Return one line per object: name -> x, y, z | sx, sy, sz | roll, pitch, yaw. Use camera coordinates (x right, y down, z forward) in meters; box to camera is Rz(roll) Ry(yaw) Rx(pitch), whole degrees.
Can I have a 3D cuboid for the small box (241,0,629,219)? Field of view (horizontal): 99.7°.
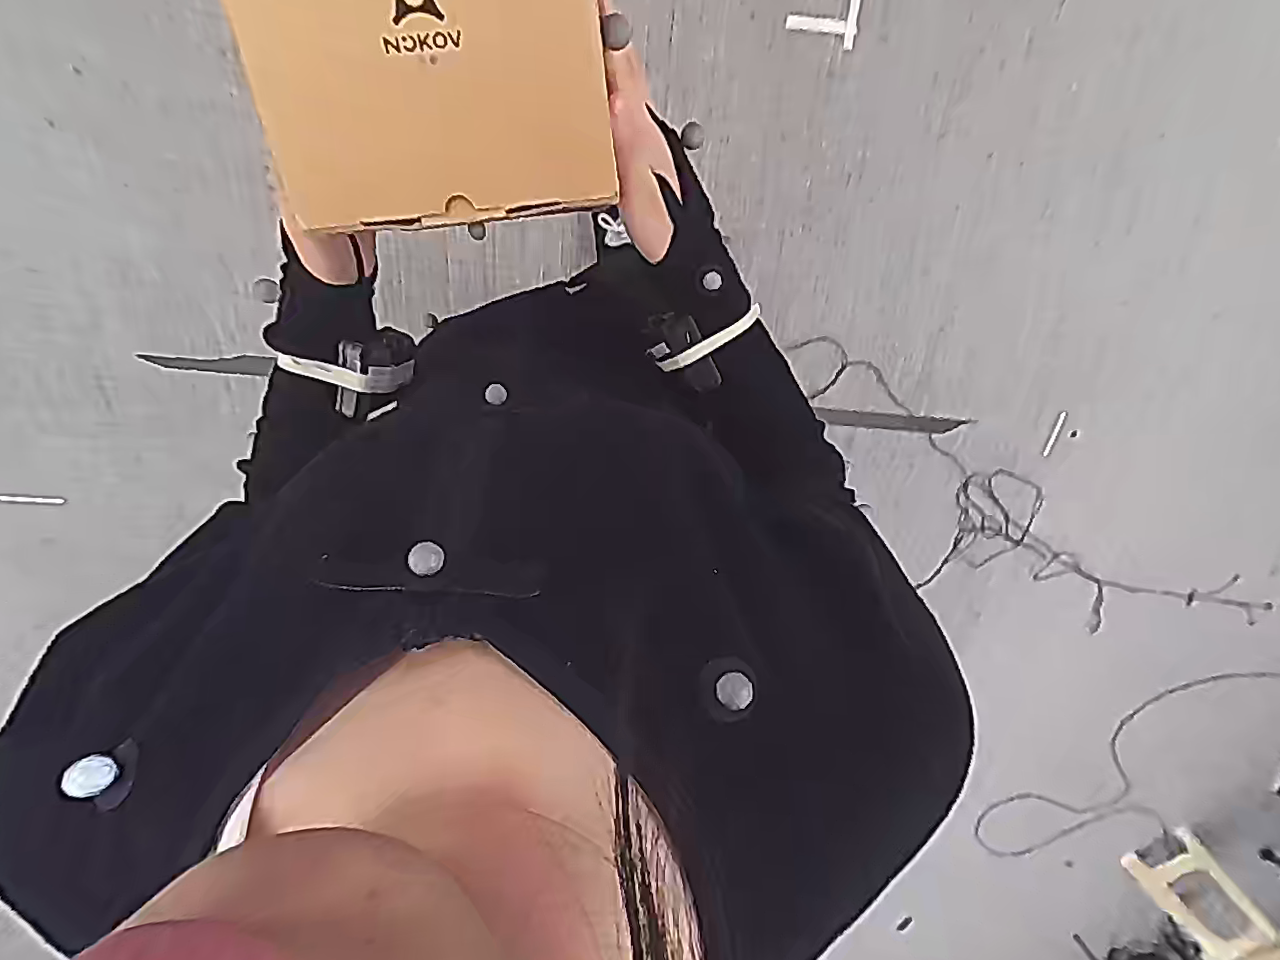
small box -> -0.103, -0.255, 0.313 | 0.168, 0.176, 0.179 | -8, 118, -3
